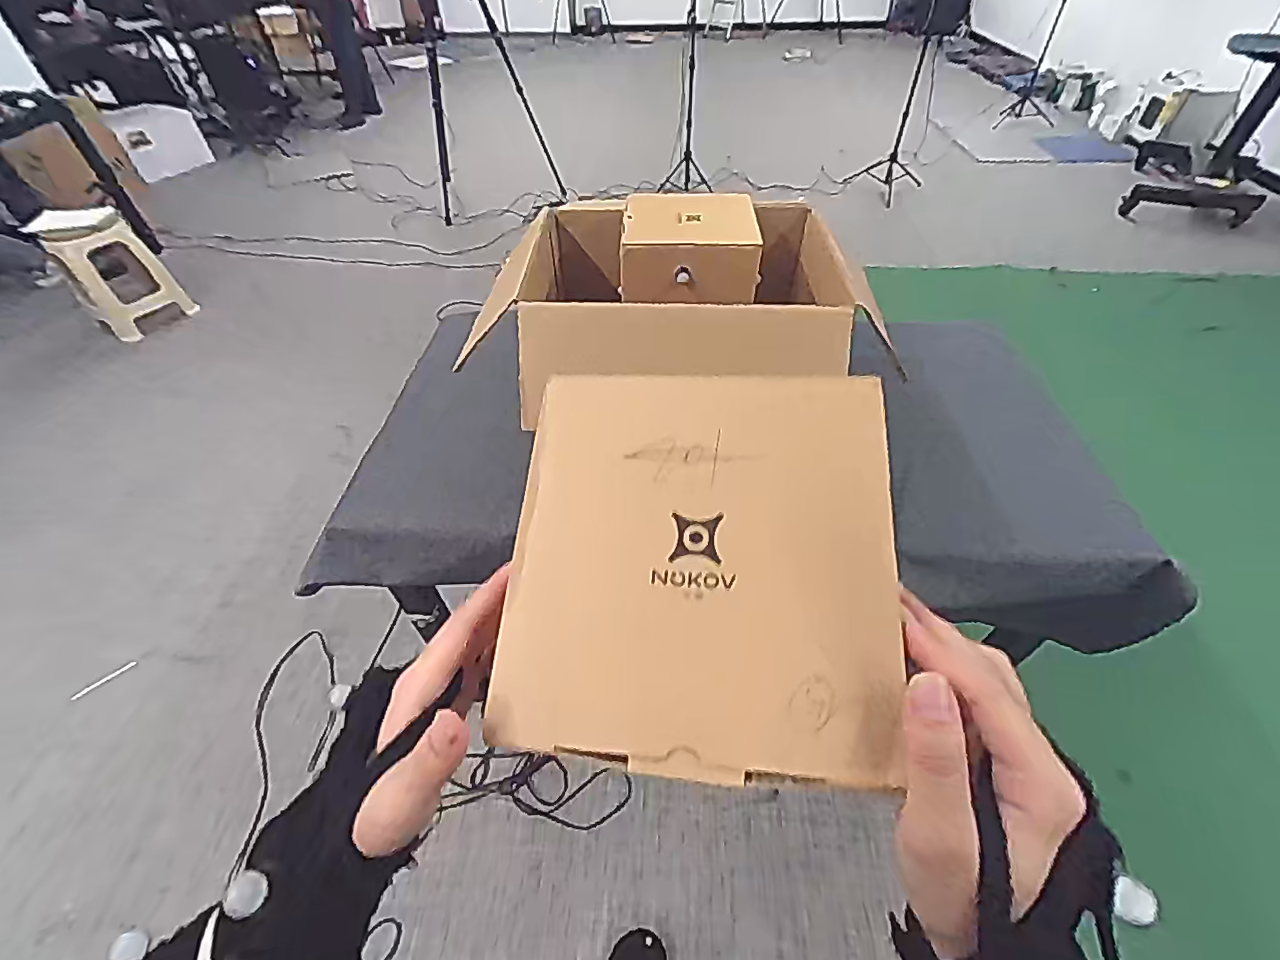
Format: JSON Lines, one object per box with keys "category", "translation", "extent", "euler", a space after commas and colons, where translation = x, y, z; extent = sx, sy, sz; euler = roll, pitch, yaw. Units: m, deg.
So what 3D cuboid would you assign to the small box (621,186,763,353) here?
{"category": "small box", "translation": [0.065, -0.295, 0.767], "extent": [0.179, 0.176, 0.168], "euler": [1, 47, 1]}
